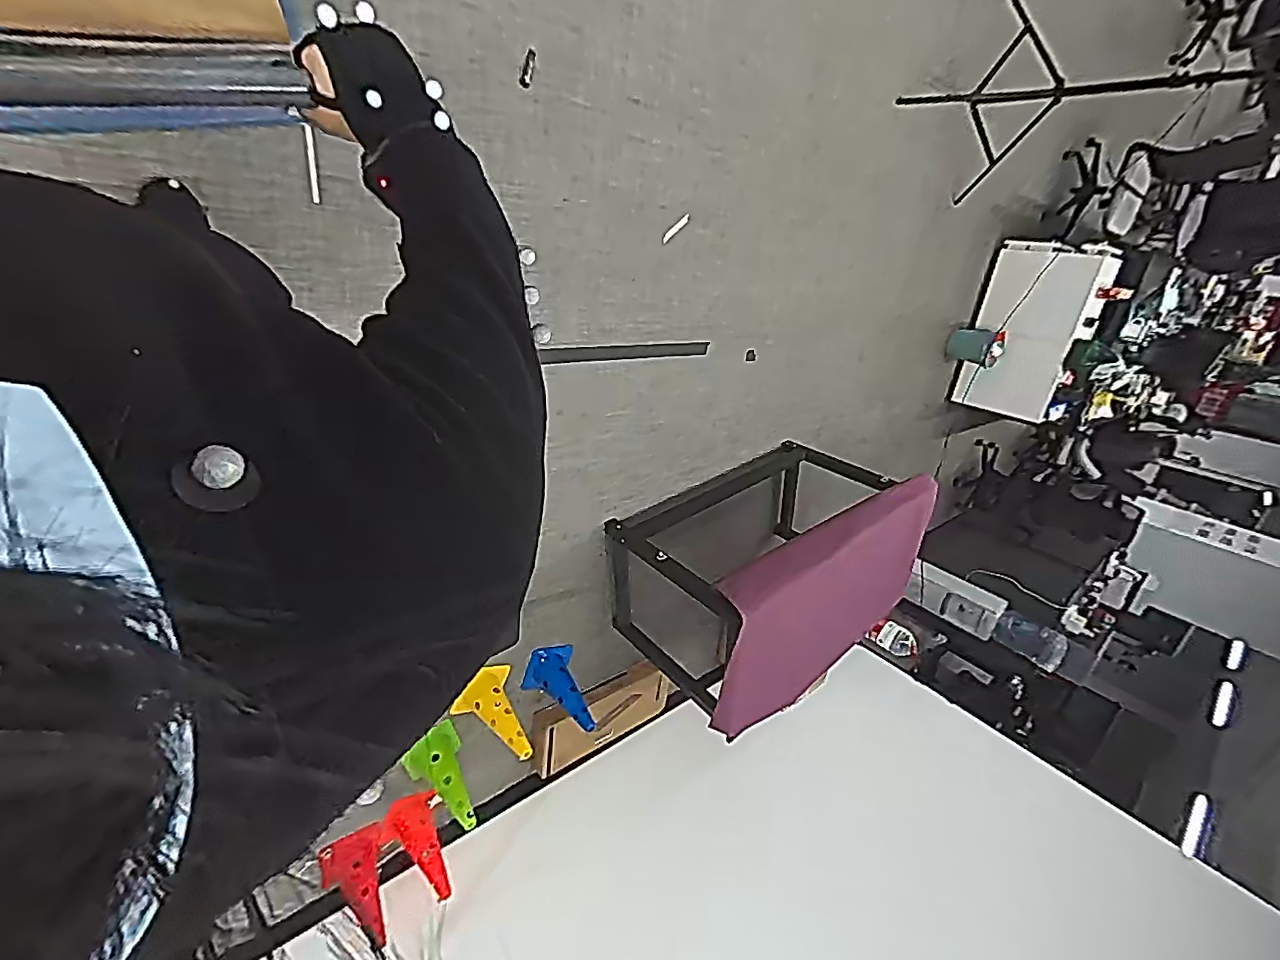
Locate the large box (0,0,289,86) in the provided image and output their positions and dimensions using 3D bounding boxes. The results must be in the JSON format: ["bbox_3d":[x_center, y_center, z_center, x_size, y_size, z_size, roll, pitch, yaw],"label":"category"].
[{"bbox_3d":[-0.730,-0.685,0.651,0.408,0.320,0.320,-26,128,-32],"label":"large box"}]
